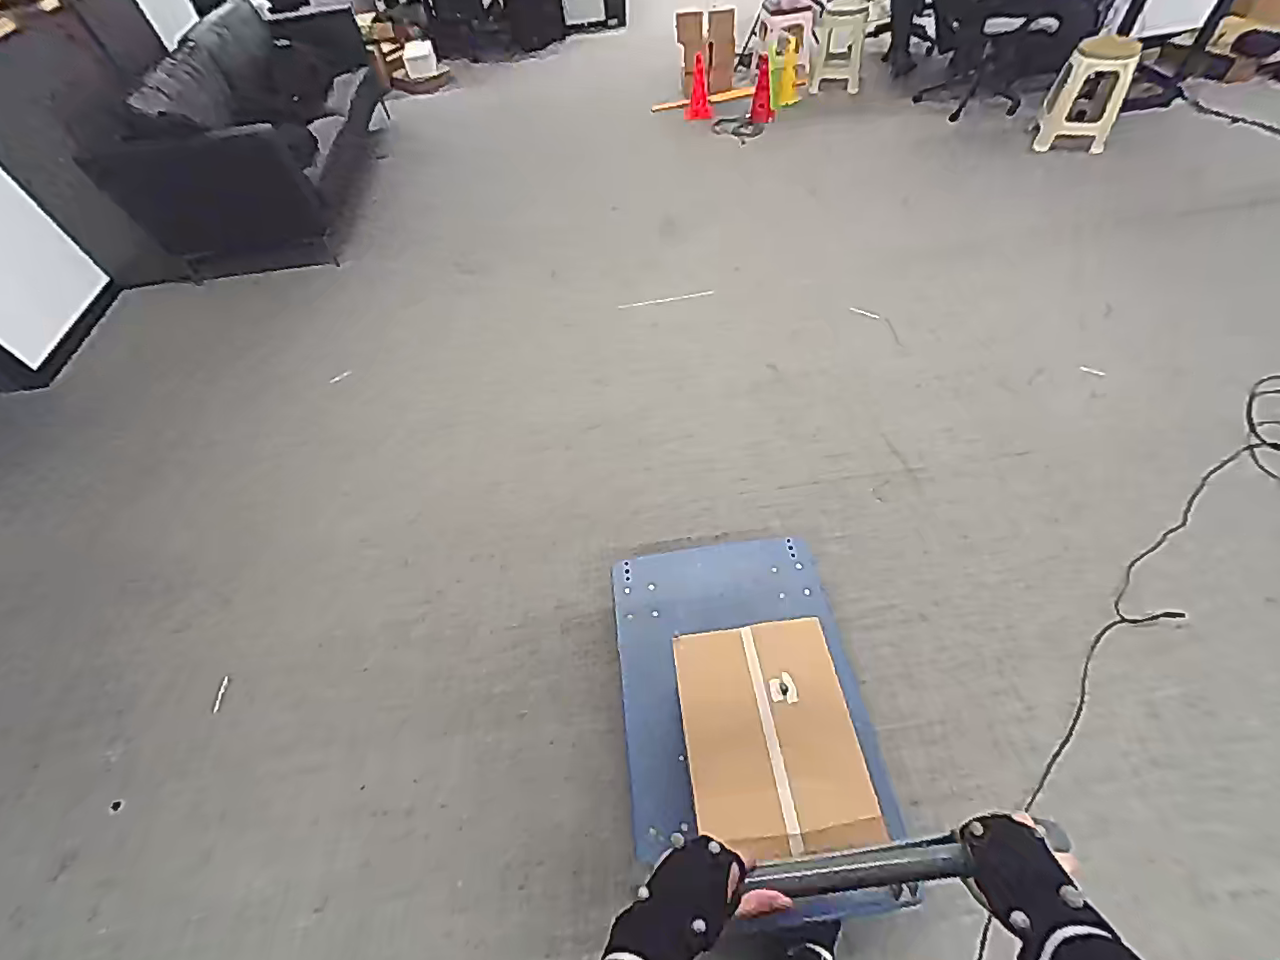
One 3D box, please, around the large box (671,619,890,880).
[{"bbox_3d":[0.256,0.559,1.126,0.320,0.320,0.408,-9,51,0],"label":"large box"}]
